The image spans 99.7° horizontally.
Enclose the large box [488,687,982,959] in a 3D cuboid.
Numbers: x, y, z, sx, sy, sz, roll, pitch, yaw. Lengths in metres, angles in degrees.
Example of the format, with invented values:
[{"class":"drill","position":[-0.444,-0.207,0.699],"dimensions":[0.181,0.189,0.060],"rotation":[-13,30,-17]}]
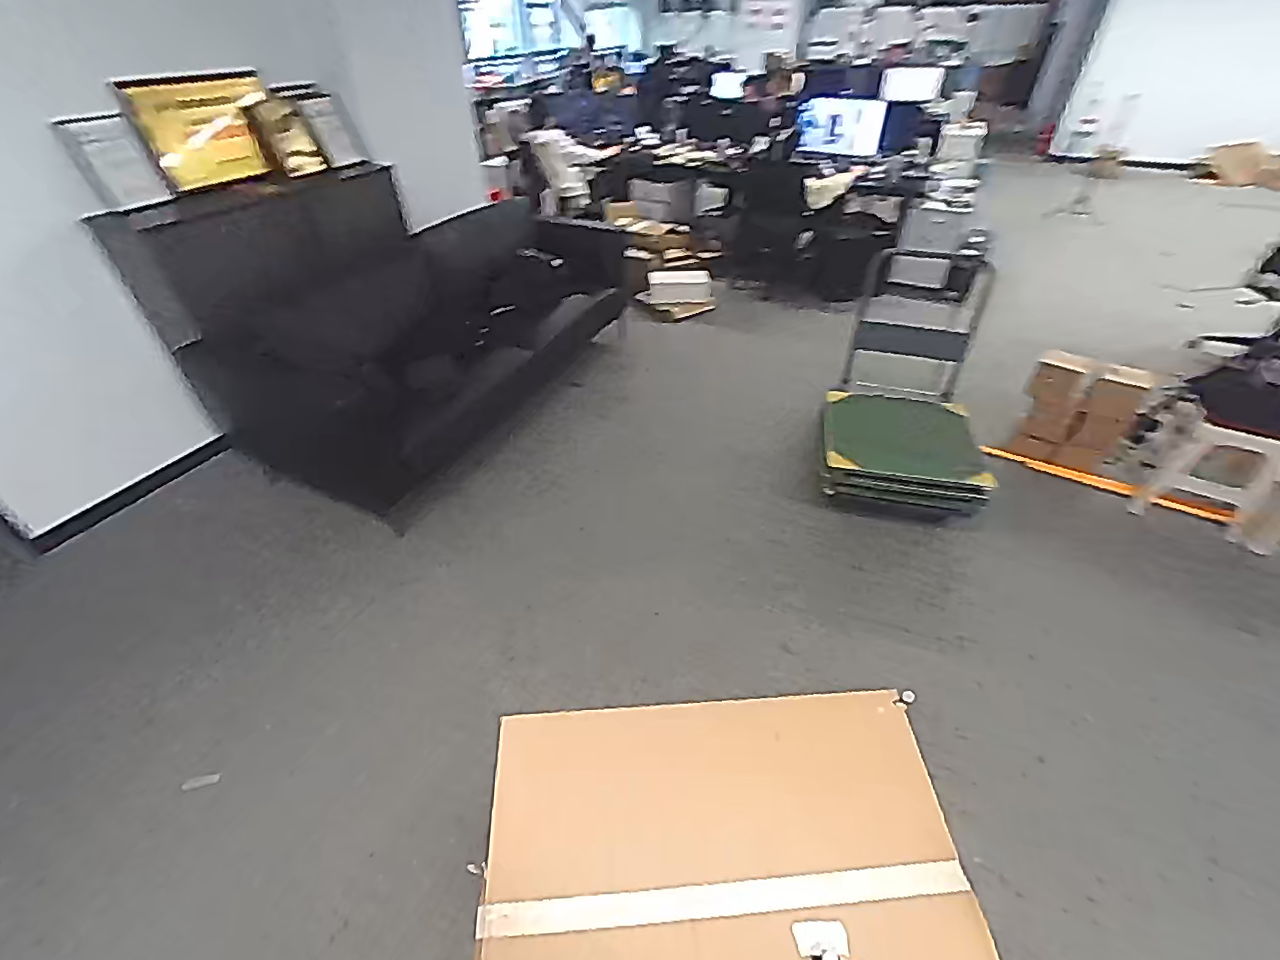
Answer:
[{"class":"large box","position":[0.067,0.444,0.573],"dimensions":[0.408,0.320,0.320],"rotation":[-3,52,-5]}]
